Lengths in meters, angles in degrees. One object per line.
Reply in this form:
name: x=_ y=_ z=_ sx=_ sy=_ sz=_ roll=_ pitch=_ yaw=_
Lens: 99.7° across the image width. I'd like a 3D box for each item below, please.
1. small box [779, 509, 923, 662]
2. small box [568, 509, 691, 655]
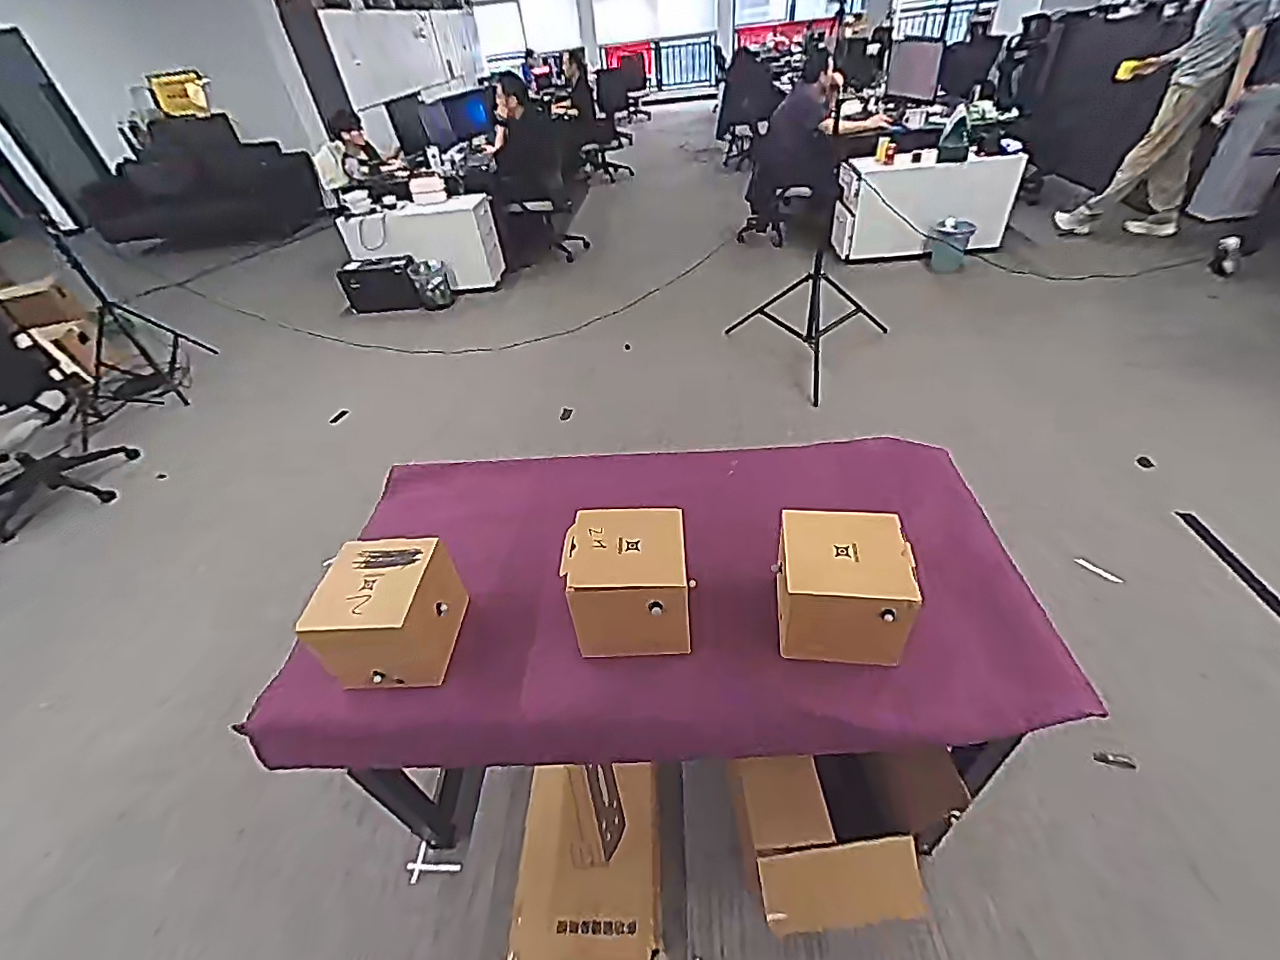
small box: x=0.308 y=0.161 z=0.833 sx=0.179 sy=0.176 sz=0.168 roll=1 pitch=41 yaw=9
small box: x=-0.008 y=0.165 z=0.874 sx=0.179 sy=0.176 sz=0.168 roll=-4 pitch=38 yaw=4
